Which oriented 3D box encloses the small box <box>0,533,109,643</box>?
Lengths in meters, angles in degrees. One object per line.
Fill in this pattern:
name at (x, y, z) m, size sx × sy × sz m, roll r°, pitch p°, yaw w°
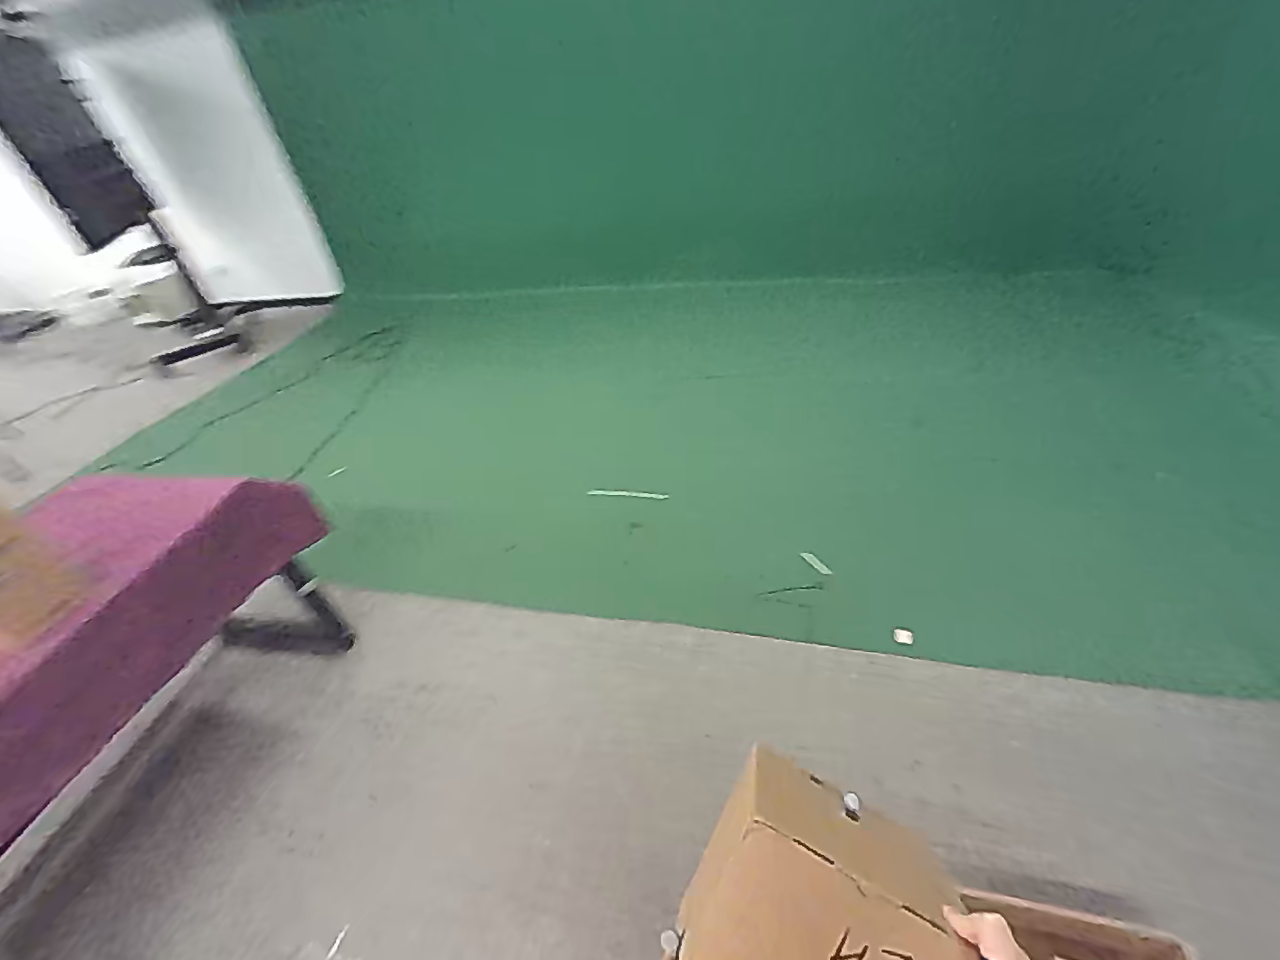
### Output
small box at (-1.311, 0.226, 1.141) m, size 0.179 × 0.176 × 0.168 m, roll 0°, pitch 41°, yaw 14°
